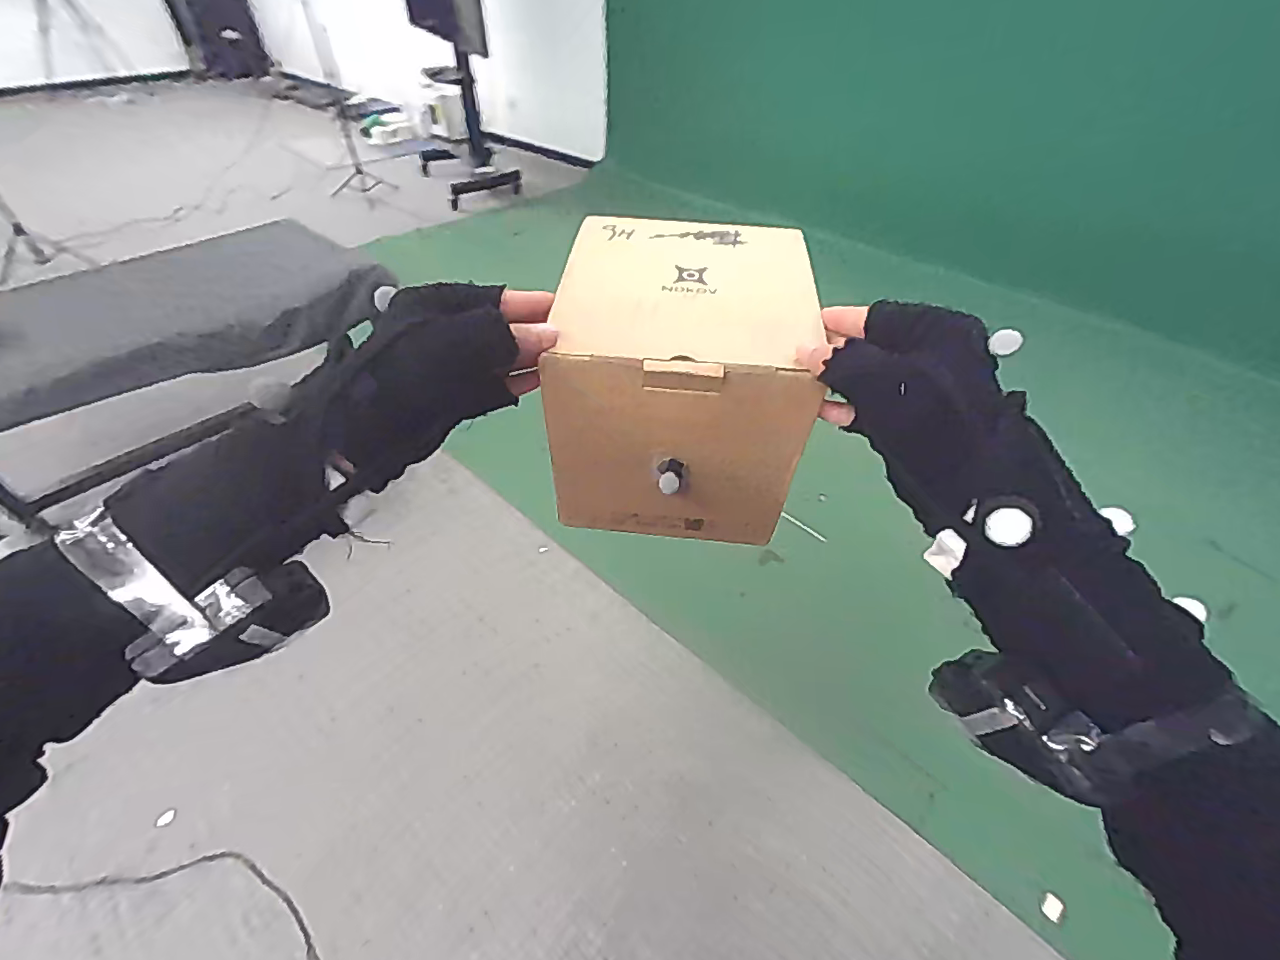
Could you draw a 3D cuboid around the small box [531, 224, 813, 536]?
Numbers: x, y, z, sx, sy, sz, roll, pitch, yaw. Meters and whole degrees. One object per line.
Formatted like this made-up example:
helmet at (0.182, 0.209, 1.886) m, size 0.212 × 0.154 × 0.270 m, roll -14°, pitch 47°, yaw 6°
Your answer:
small box at (0.024, -0.074, 0.421) m, size 0.168 × 0.176 × 0.179 m, roll 4°, pitch 50°, yaw 2°
